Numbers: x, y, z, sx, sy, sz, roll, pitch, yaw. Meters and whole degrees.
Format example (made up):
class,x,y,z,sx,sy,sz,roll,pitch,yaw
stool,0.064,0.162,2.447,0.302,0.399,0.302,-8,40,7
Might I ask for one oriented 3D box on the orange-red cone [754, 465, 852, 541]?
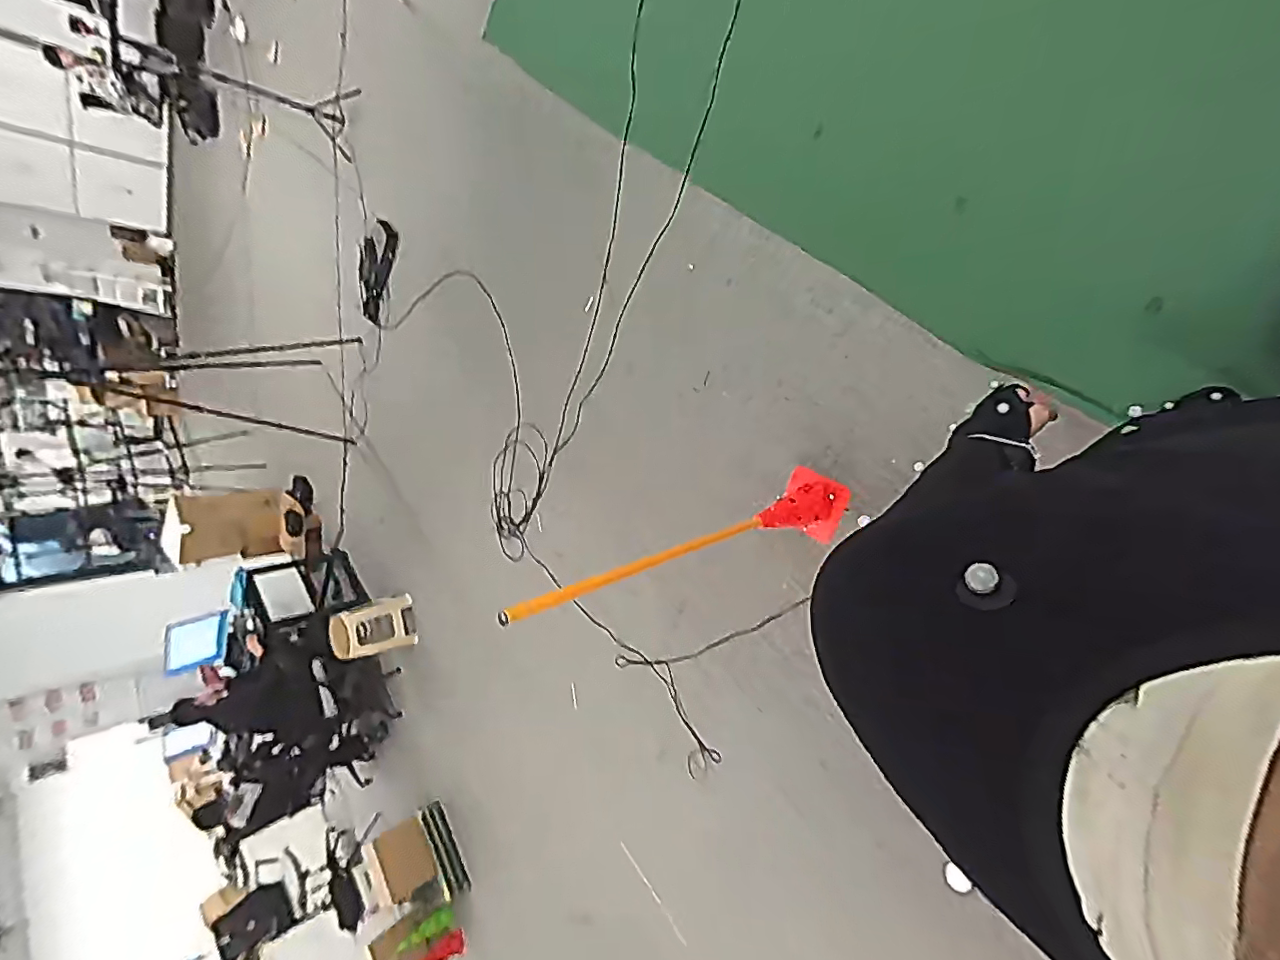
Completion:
class,x,y,z,sx,sy,sz,roll,pitch,yaw
orange-red cone,0.446,0.089,1.616,0.199,0.360,0.198,34,117,35
